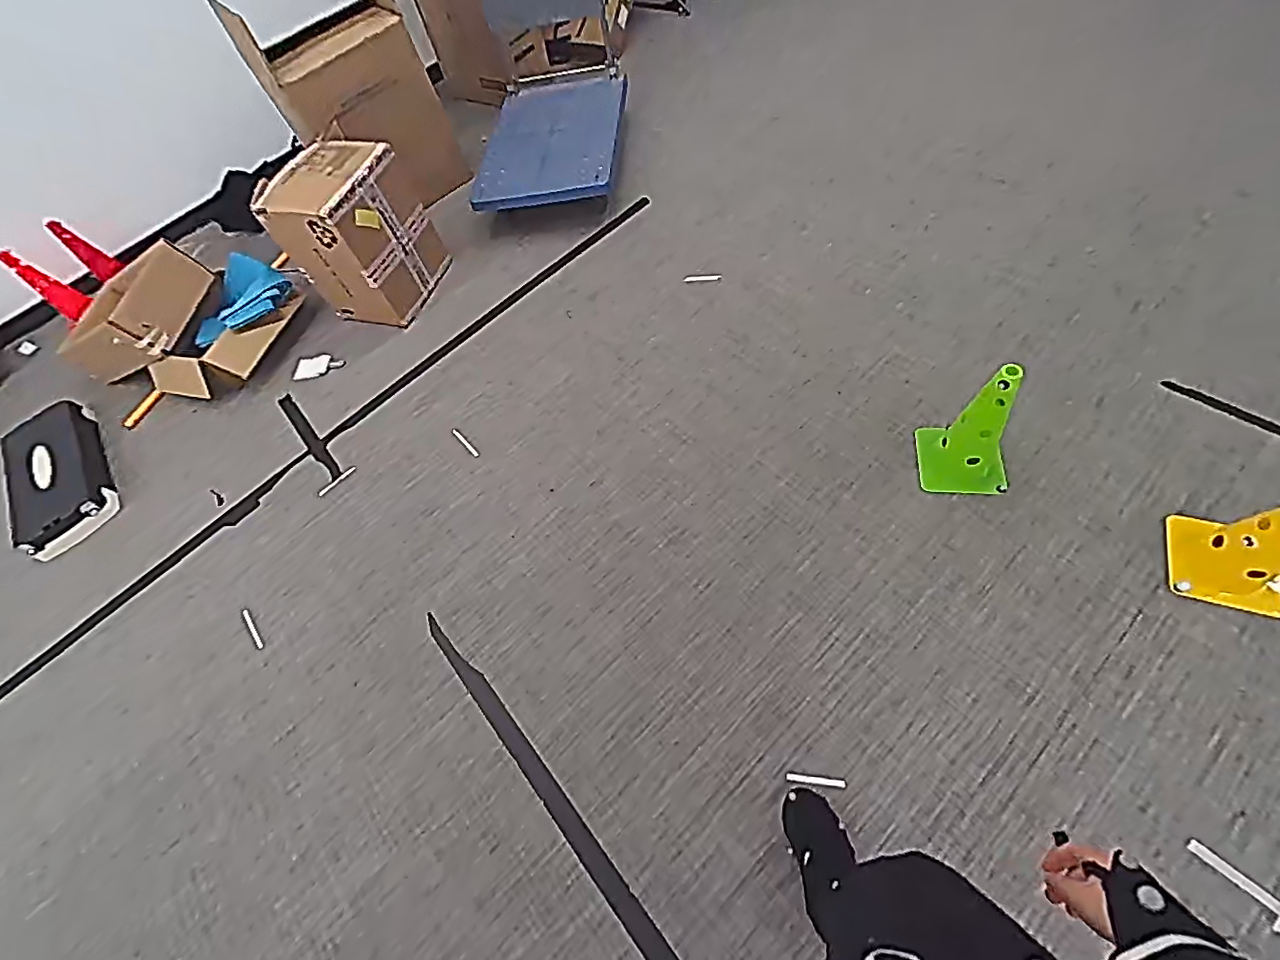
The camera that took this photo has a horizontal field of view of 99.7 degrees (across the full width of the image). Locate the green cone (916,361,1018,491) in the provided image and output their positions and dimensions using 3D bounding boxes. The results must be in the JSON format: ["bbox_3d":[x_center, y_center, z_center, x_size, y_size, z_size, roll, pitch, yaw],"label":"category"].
[{"bbox_3d":[0.807,-0.146,1.273,0.202,0.368,0.200,1,60,14],"label":"green cone"}]
